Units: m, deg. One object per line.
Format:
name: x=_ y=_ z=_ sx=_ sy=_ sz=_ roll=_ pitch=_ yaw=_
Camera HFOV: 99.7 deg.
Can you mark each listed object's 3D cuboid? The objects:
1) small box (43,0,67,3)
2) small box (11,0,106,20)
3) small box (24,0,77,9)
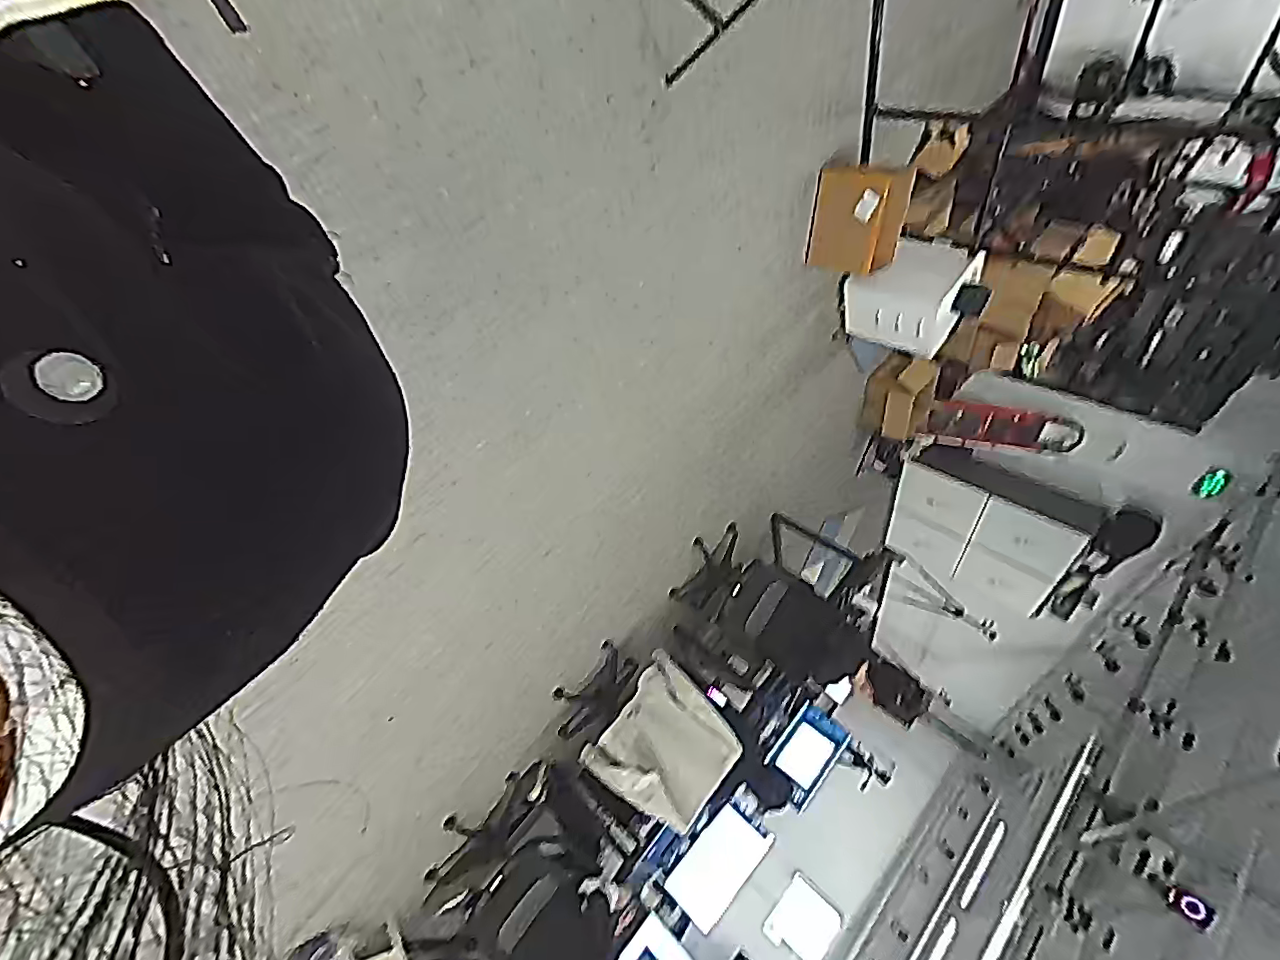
small box: x=-0.651 y=-0.663 z=0.601 sx=0.179 sy=0.176 sz=0.168 roll=-42 pitch=142 yaw=-22
small box: x=-0.883 y=-0.803 z=0.785 sx=0.168 sy=0.176 sz=0.179 roll=-44 pitch=143 yaw=-21
small box: x=-0.771 y=-0.736 z=0.686 sx=0.168 sy=0.176 sz=0.179 roll=-42 pitch=142 yaw=-22
